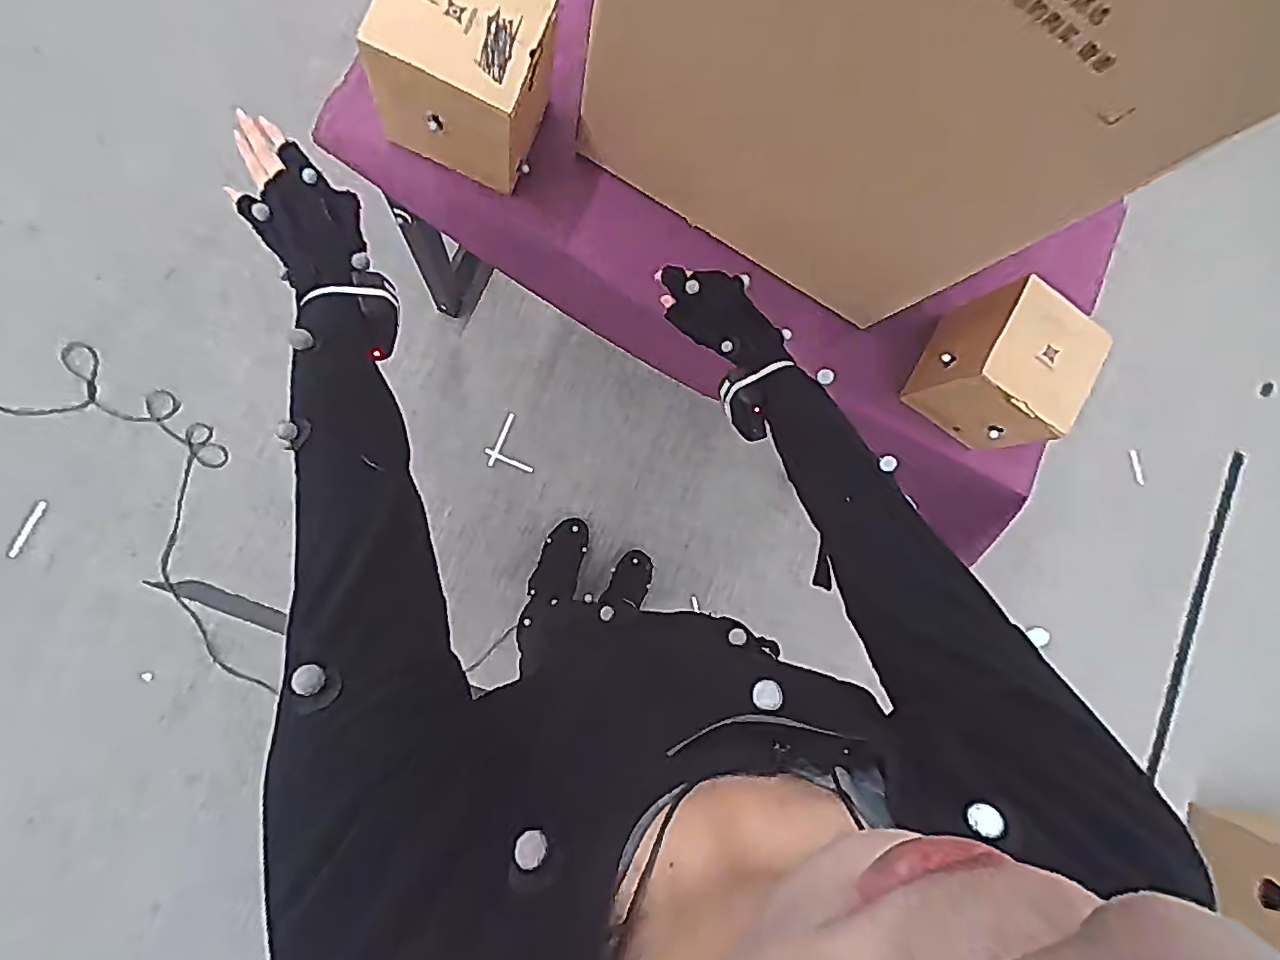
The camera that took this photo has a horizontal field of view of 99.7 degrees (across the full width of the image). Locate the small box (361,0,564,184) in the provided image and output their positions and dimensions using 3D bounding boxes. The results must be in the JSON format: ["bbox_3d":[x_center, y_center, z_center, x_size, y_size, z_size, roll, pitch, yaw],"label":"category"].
[{"bbox_3d":[-0.210,-0.512,0.679,0.179,0.176,0.168,20,82,-11],"label":"small box"}]

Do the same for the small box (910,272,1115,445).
[{"bbox_3d":[0.553,-0.170,0.827,0.168,0.176,0.179,32,80,-9],"label":"small box"}]
